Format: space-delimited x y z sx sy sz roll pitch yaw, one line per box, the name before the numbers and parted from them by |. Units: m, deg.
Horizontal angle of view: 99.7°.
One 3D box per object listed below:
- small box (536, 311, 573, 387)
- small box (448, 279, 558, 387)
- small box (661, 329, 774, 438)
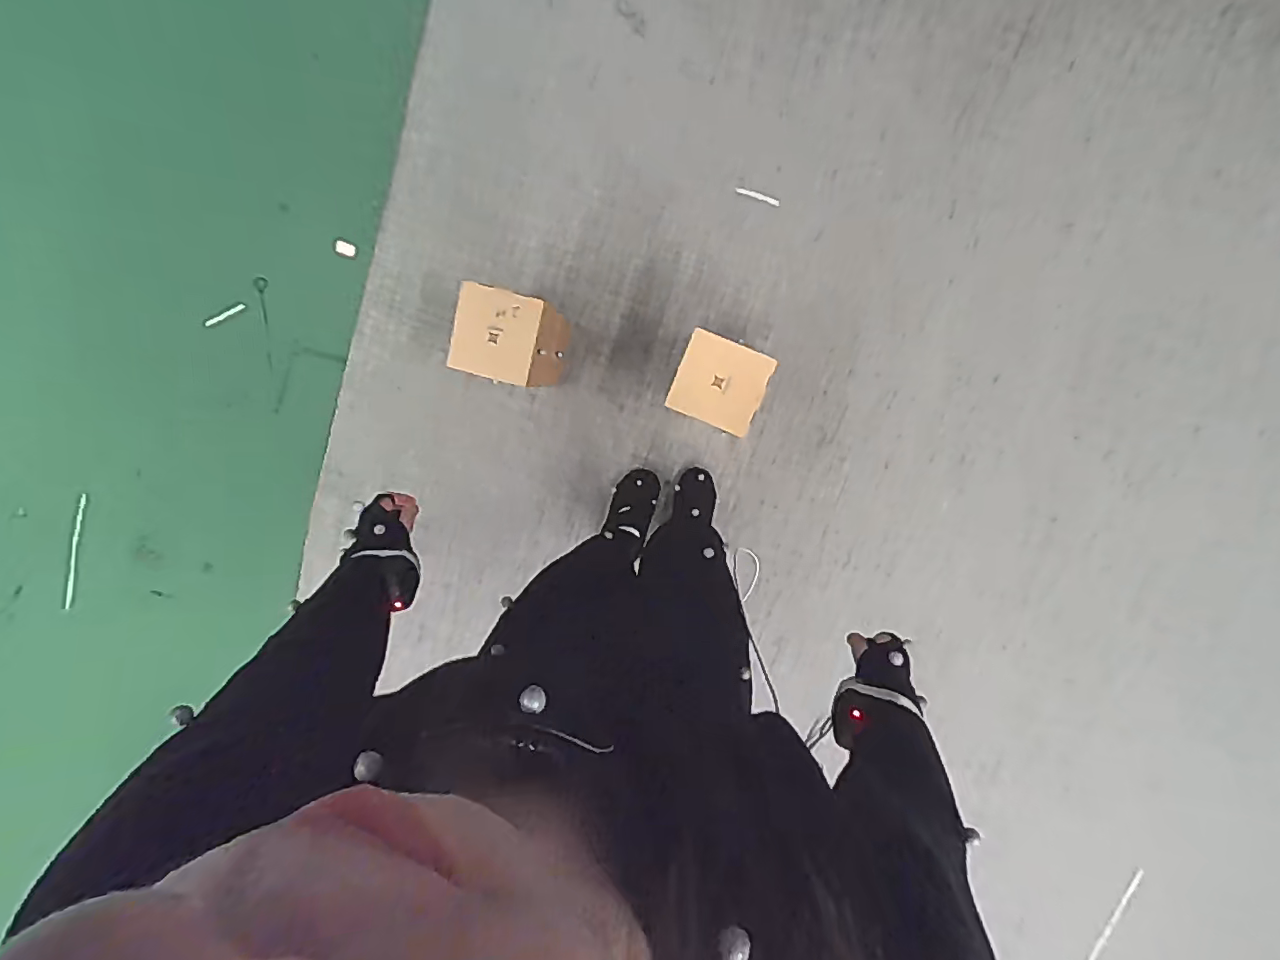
small box | -0.273 -0.333 1.317 0.168 0.176 0.179 18 99 0
small box | -0.285 -0.304 1.155 0.168 0.176 0.179 16 100 0
small box | 0.156 -0.200 1.145 0.179 0.176 0.168 23 99 0
